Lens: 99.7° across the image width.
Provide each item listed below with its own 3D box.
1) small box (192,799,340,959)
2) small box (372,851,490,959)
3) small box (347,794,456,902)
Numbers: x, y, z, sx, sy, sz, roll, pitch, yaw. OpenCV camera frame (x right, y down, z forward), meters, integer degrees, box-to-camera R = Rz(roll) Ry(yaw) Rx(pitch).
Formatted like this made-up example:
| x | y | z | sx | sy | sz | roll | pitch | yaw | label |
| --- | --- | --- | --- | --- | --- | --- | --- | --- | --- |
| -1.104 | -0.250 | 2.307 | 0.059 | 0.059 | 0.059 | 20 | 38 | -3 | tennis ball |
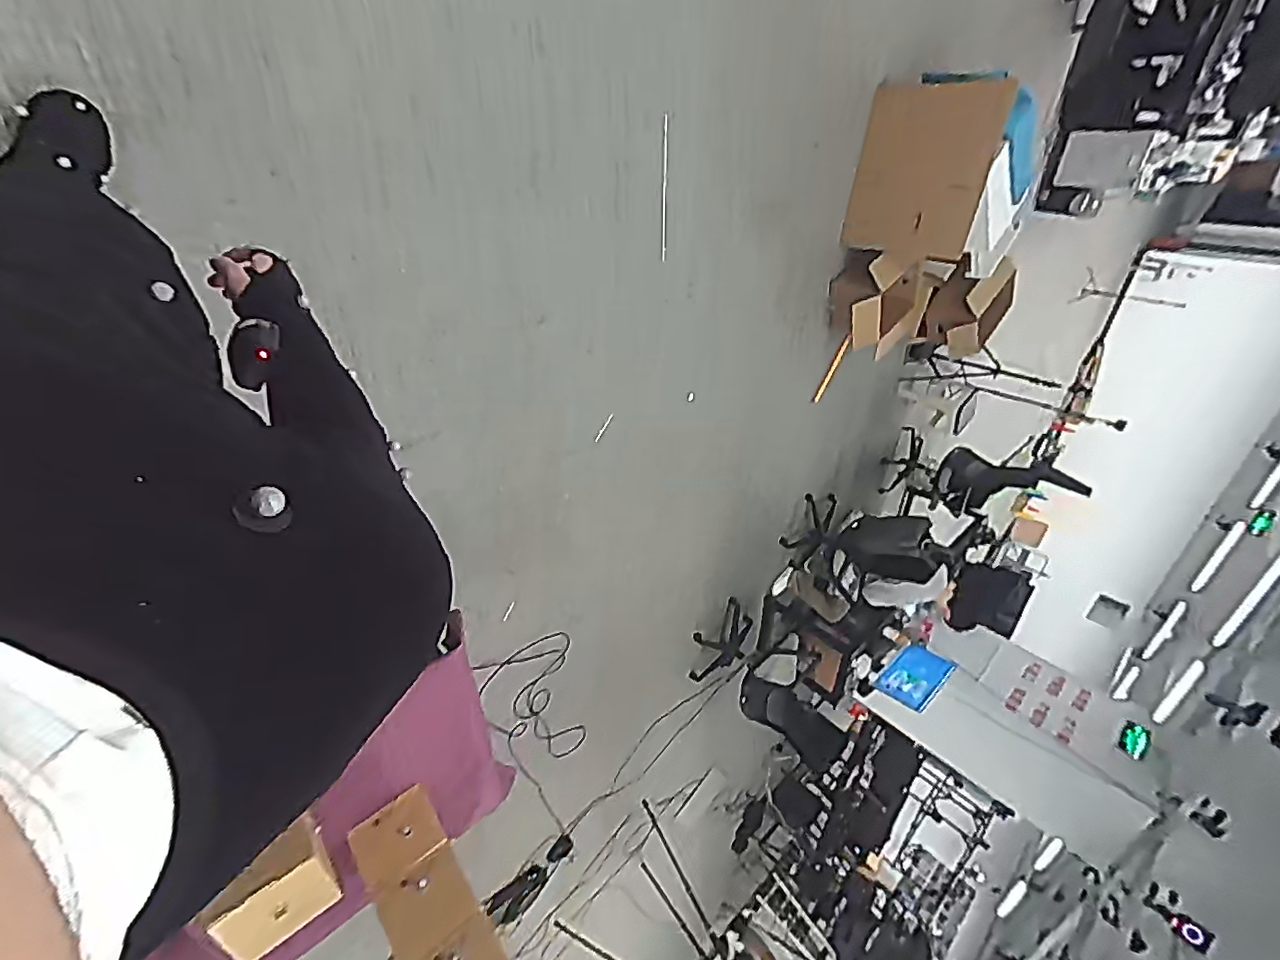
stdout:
| x | y | z | sx | sy | sz | roll | pitch | yaw | label |
| --- | --- | --- | --- | --- | --- | --- | --- | --- | --- |
| -0.687 | 0.733 | 0.996 | 0.168 | 0.176 | 0.179 | -25 | 131 | -35 | small box |
| -0.434 | 0.932 | 1.130 | 0.168 | 0.176 | 0.179 | -23 | 128 | -37 | small box |
| -0.540 | 0.864 | 1.236 | 0.168 | 0.176 | 0.179 | -27 | 131 | -34 | small box |
